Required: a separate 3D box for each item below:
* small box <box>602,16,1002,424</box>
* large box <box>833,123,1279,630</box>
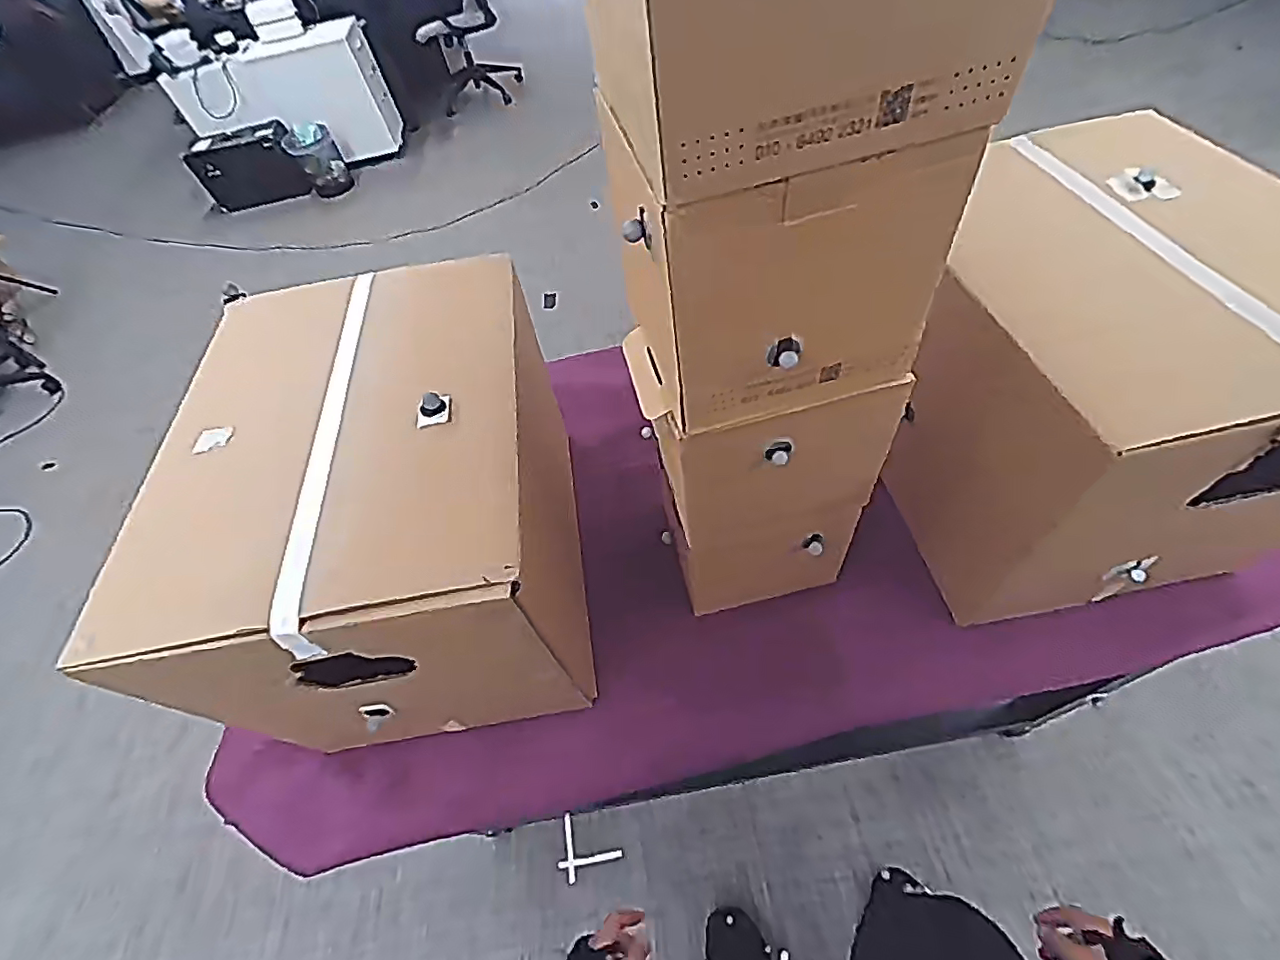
[{"bbox_3d":[0.080,-0.167,0.361,0.168,0.176,0.179,-15,54,-2],"label":"small box"},{"bbox_3d":[0.443,-0.109,0.581,0.320,0.320,0.408,-12,52,0],"label":"large box"}]
